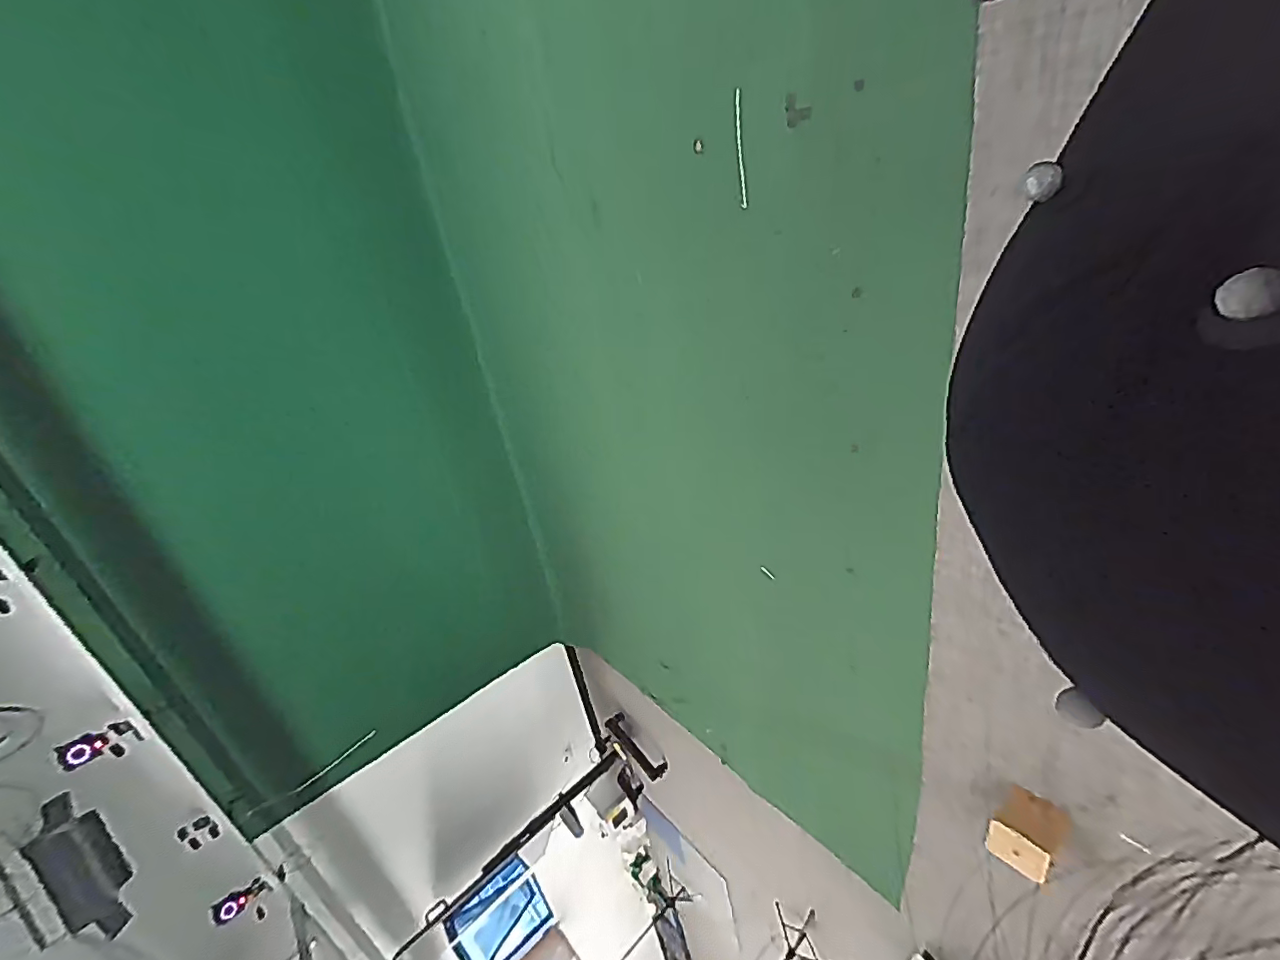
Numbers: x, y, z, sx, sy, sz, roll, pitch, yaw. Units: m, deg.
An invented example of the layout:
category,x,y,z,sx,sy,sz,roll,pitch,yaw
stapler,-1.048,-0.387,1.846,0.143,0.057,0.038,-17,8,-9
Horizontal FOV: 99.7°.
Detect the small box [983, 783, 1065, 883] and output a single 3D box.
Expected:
category,x,y,z,sx,sy,sz,roll,pitch,yaw
small box,1.264,1.155,1.779,0.168,0.176,0.179,22,130,47
